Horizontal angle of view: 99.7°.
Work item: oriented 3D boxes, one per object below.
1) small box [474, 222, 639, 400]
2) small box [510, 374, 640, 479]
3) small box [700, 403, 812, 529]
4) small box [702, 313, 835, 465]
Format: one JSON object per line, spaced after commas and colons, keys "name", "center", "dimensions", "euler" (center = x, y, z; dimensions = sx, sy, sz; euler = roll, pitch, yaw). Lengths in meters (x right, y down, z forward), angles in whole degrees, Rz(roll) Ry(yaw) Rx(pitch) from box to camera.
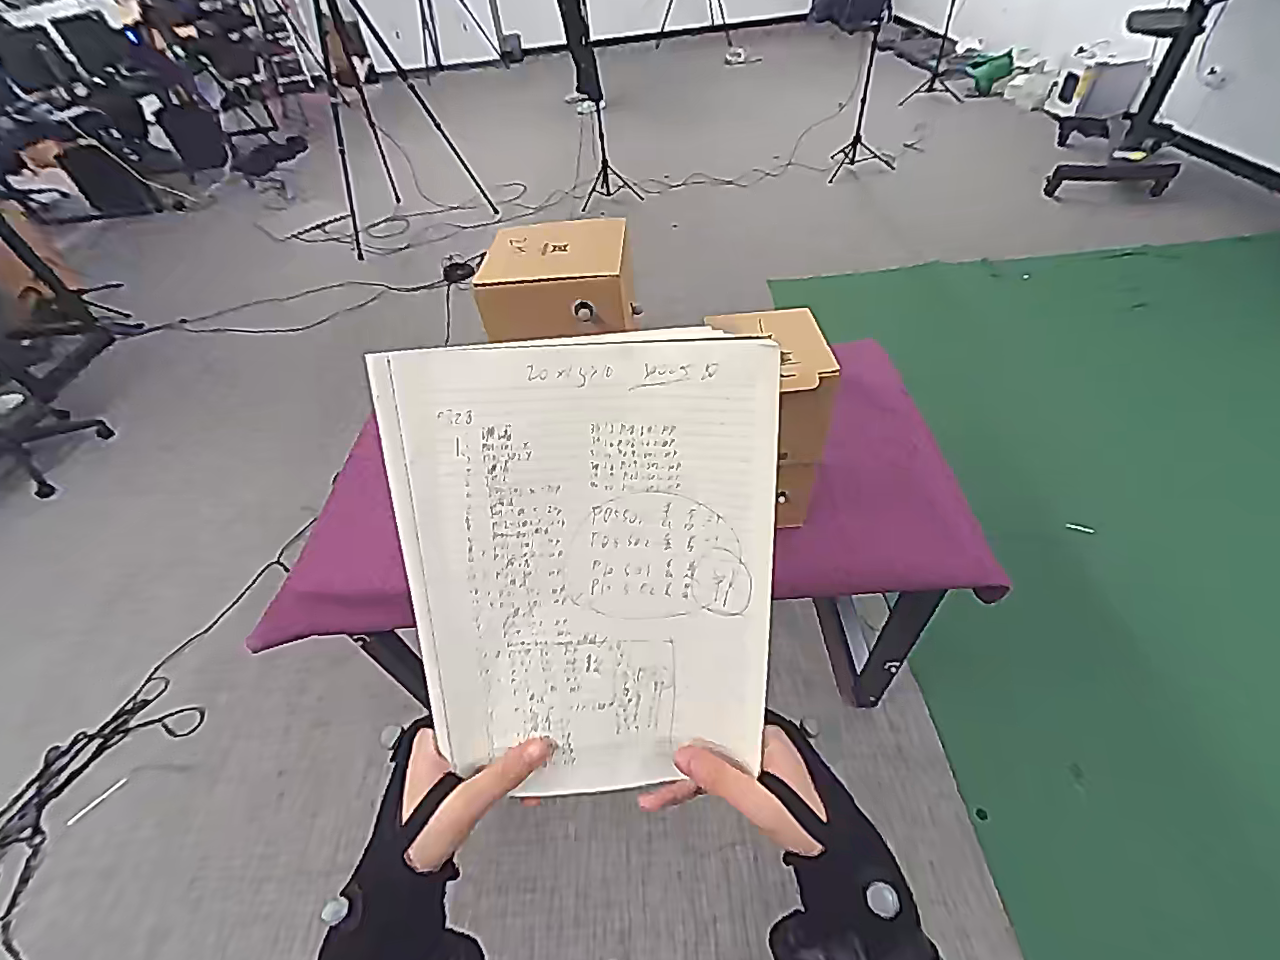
{"name": "small box", "center": [-0.095, -0.223, 0.724], "dimensions": [0.179, 0.176, 0.168], "euler": [-2, 45, 5]}
{"name": "small box", "center": [-0.089, -0.113, 0.848], "dimensions": [0.168, 0.176, 0.179], "euler": [-4, 46, 4]}
{"name": "small box", "center": [0.195, -0.024, 0.957], "dimensions": [0.168, 0.176, 0.179], "euler": [-3, 46, 3]}
{"name": "small box", "center": [0.186, -0.134, 0.836], "dimensions": [0.168, 0.176, 0.179], "euler": [-4, 45, 2]}
